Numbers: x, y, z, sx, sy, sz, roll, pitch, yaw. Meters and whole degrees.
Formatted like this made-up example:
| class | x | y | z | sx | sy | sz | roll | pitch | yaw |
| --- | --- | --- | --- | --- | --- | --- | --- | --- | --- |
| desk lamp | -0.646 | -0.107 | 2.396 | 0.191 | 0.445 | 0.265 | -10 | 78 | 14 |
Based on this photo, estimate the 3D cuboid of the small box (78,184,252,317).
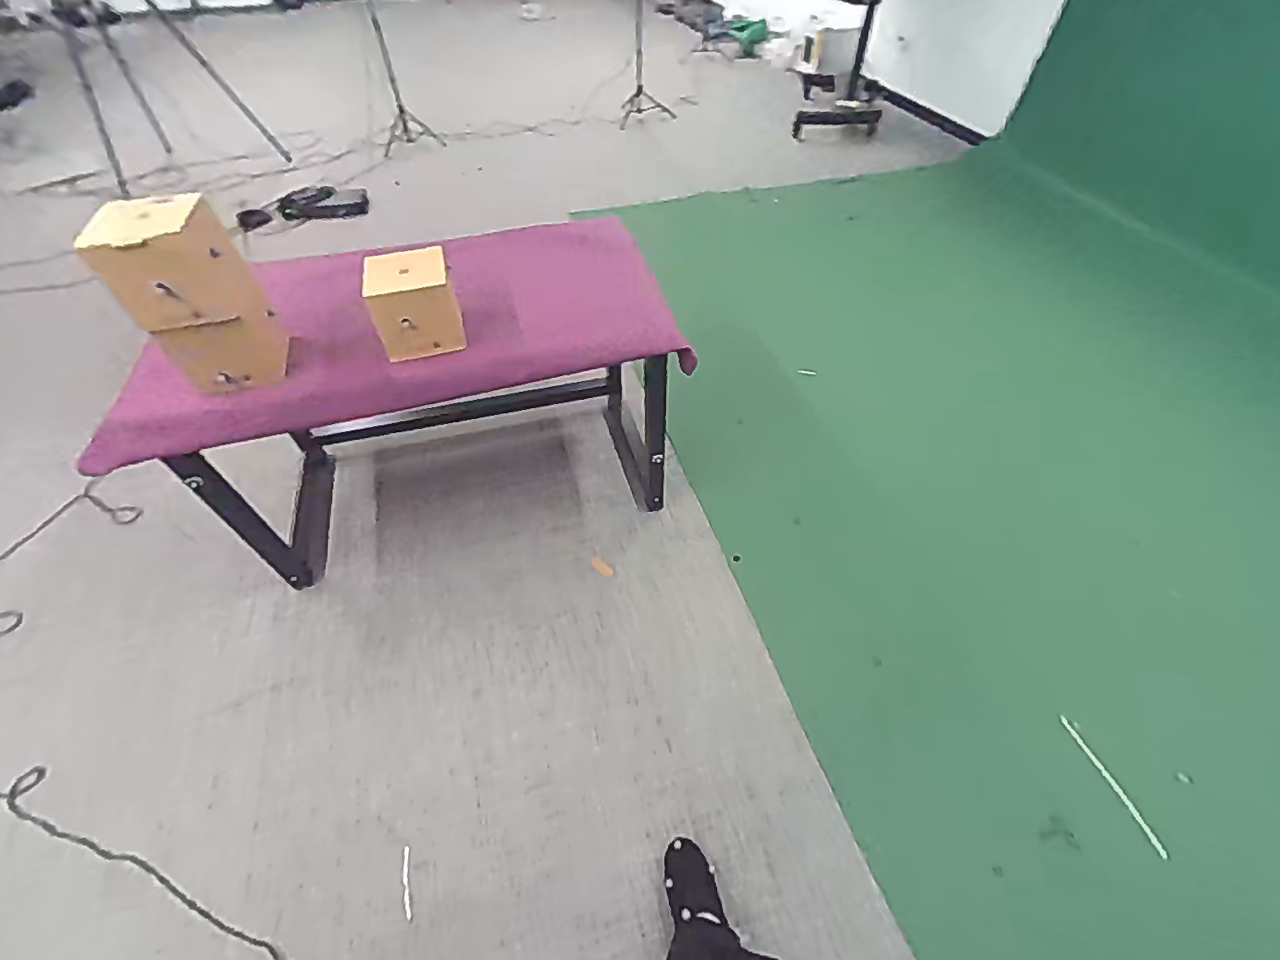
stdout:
| class | x | y | z | sx | sy | sz | roll | pitch | yaw |
| --- | --- | --- | --- | --- | --- | --- | --- | --- | --- |
| small box | -0.867 | -0.422 | 1.012 | 0.168 | 0.176 | 0.179 | -12 | 52 | -10 |

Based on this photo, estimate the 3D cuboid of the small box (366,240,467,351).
| class | x | y | z | sx | sy | sz | roll | pitch | yaw |
| --- | --- | --- | --- | --- | --- | --- | --- | --- | --- |
| small box | -0.495 | -0.406 | 1.210 | 0.168 | 0.176 | 0.179 | -14 | 50 | -11 |

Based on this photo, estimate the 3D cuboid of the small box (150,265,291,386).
| class | x | y | z | sx | sy | sz | roll | pitch | yaw |
| --- | --- | --- | --- | --- | --- | --- | --- | --- | --- |
| small box | -0.870 | -0.326 | 1.145 | 0.168 | 0.176 | 0.179 | -14 | 52 | -11 |
